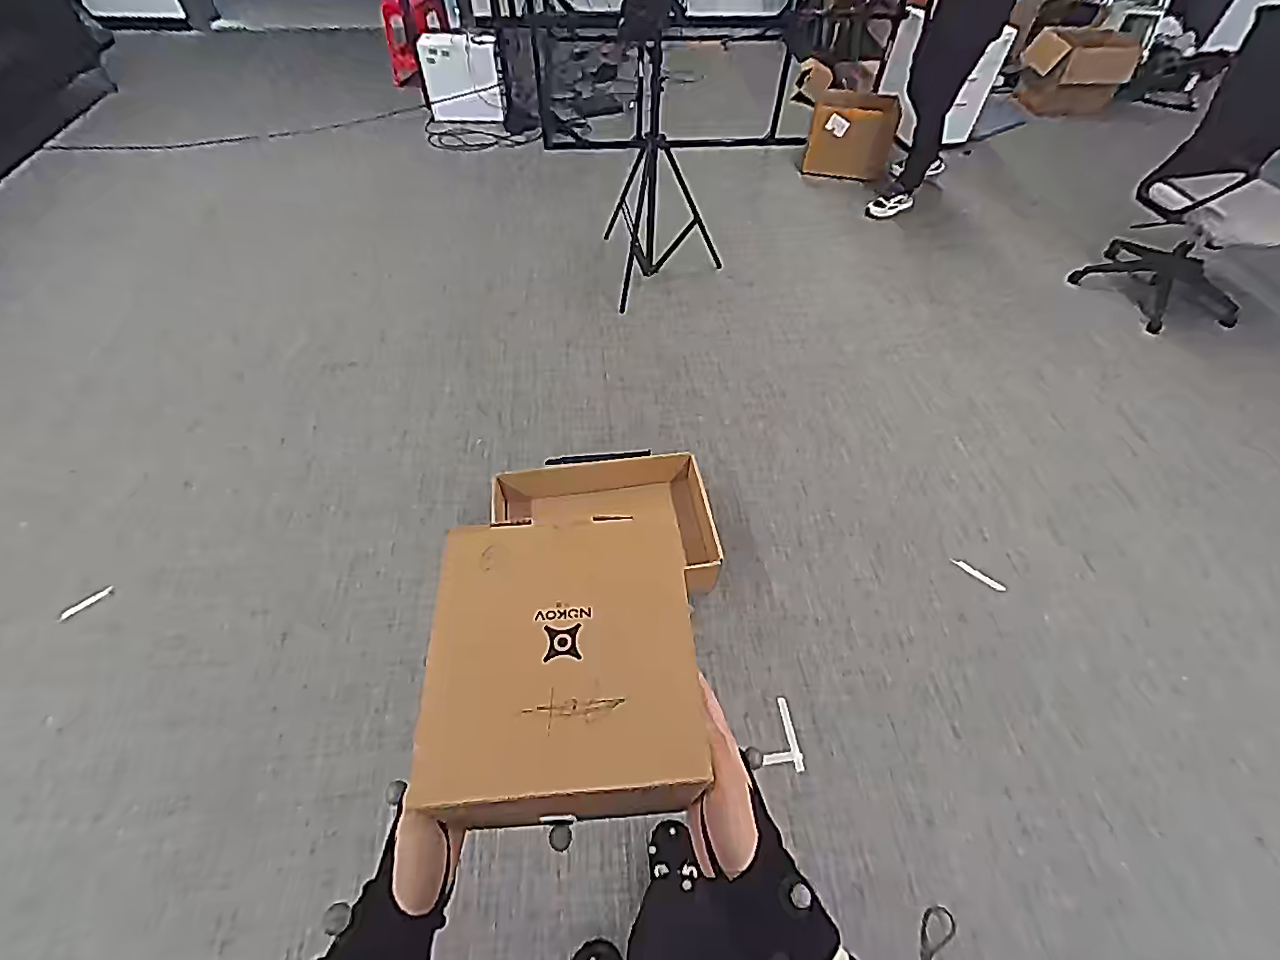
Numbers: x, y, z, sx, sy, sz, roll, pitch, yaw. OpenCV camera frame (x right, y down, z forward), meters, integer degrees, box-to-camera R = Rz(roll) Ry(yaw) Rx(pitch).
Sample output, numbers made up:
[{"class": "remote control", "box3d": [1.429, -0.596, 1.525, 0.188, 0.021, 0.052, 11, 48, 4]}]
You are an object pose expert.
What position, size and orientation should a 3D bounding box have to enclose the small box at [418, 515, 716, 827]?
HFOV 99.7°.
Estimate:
[{"class": "small box", "box3d": [-0.048, 0.146, 0.407, 0.168, 0.176, 0.179, -3, 54, -4]}]
